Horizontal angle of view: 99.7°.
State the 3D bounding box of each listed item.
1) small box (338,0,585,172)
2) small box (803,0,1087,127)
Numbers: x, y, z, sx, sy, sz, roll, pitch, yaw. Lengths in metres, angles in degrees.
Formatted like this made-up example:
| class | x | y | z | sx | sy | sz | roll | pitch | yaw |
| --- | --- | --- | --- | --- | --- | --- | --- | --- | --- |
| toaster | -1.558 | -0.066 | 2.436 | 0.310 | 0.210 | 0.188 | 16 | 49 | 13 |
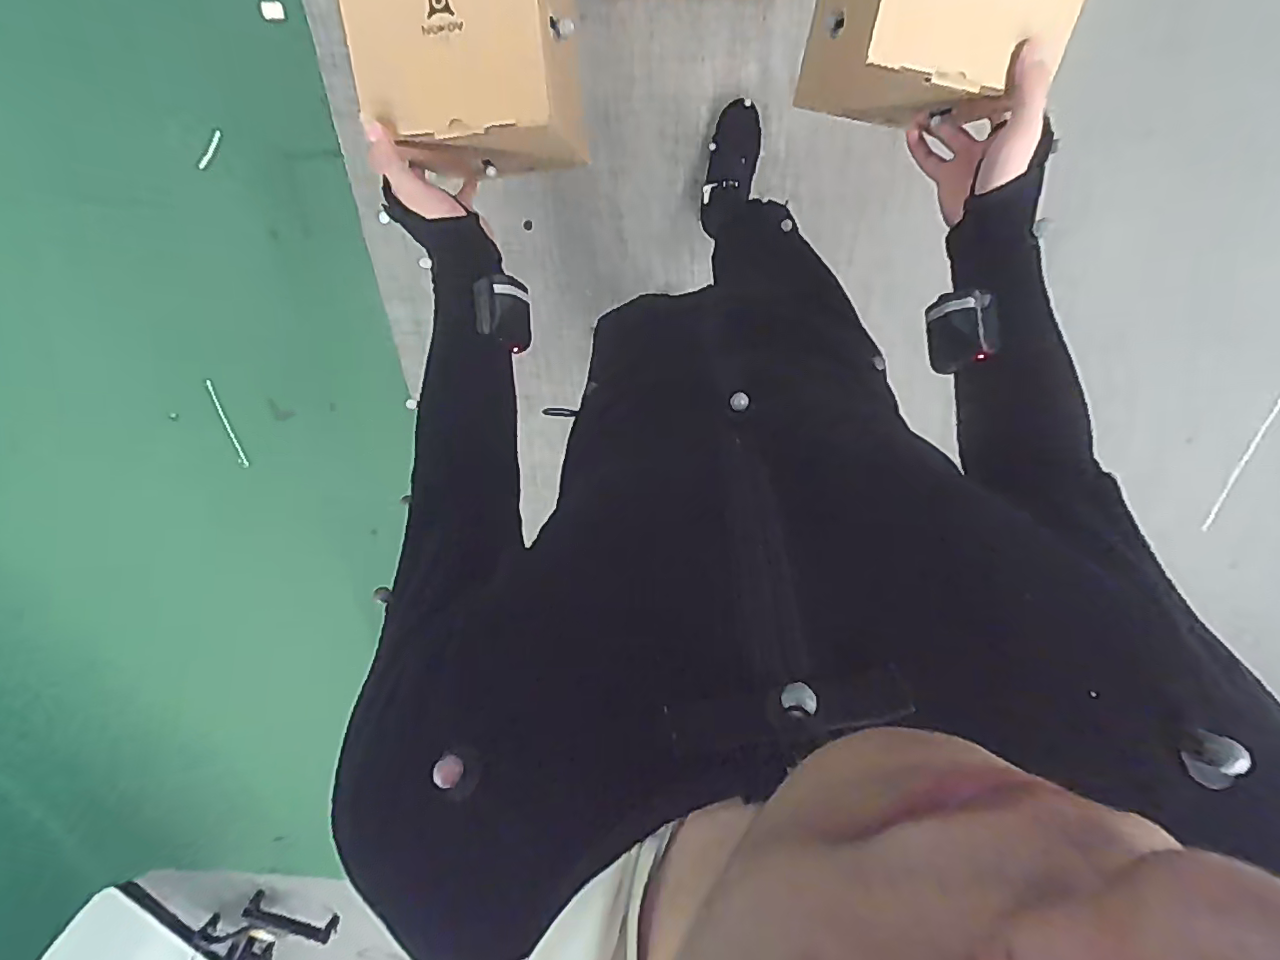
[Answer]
| class | x | y | z | sx | sy | sz | roll | pitch | yaw |
| --- | --- | --- | --- | --- | --- | --- | --- | --- | --- |
| small box | -0.150 | -0.402 | 0.495 | 0.168 | 0.176 | 0.179 | -2 | 109 | 6 |
| small box | 0.260 | -0.431 | 0.468 | 0.168 | 0.176 | 0.179 | 6 | 113 | -9 |
